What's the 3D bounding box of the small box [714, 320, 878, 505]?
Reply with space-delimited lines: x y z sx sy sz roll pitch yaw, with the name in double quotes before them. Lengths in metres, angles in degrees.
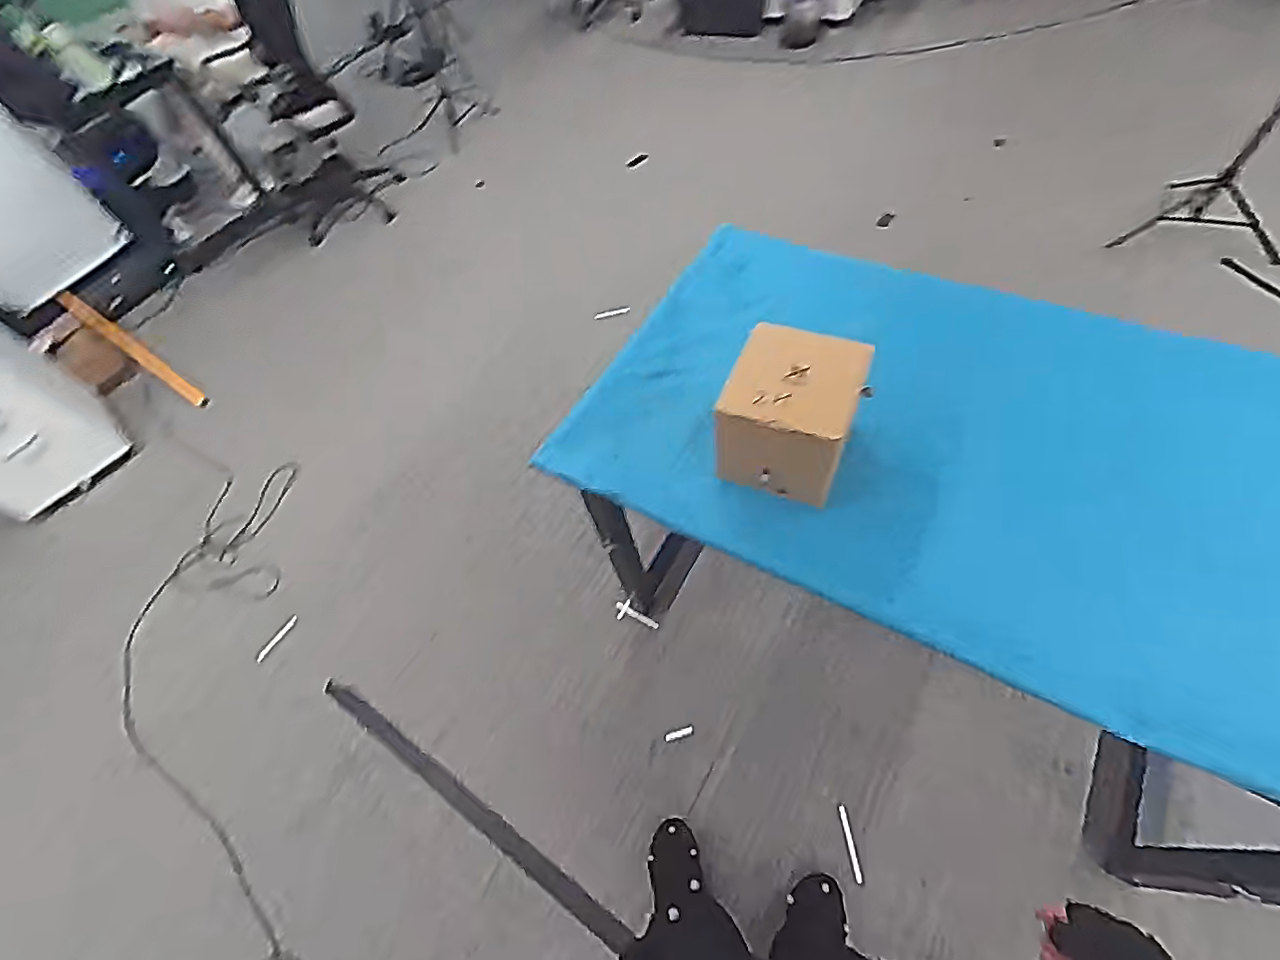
"small box" 0.220 -0.095 0.782 0.168 0.176 0.179 22 67 23
